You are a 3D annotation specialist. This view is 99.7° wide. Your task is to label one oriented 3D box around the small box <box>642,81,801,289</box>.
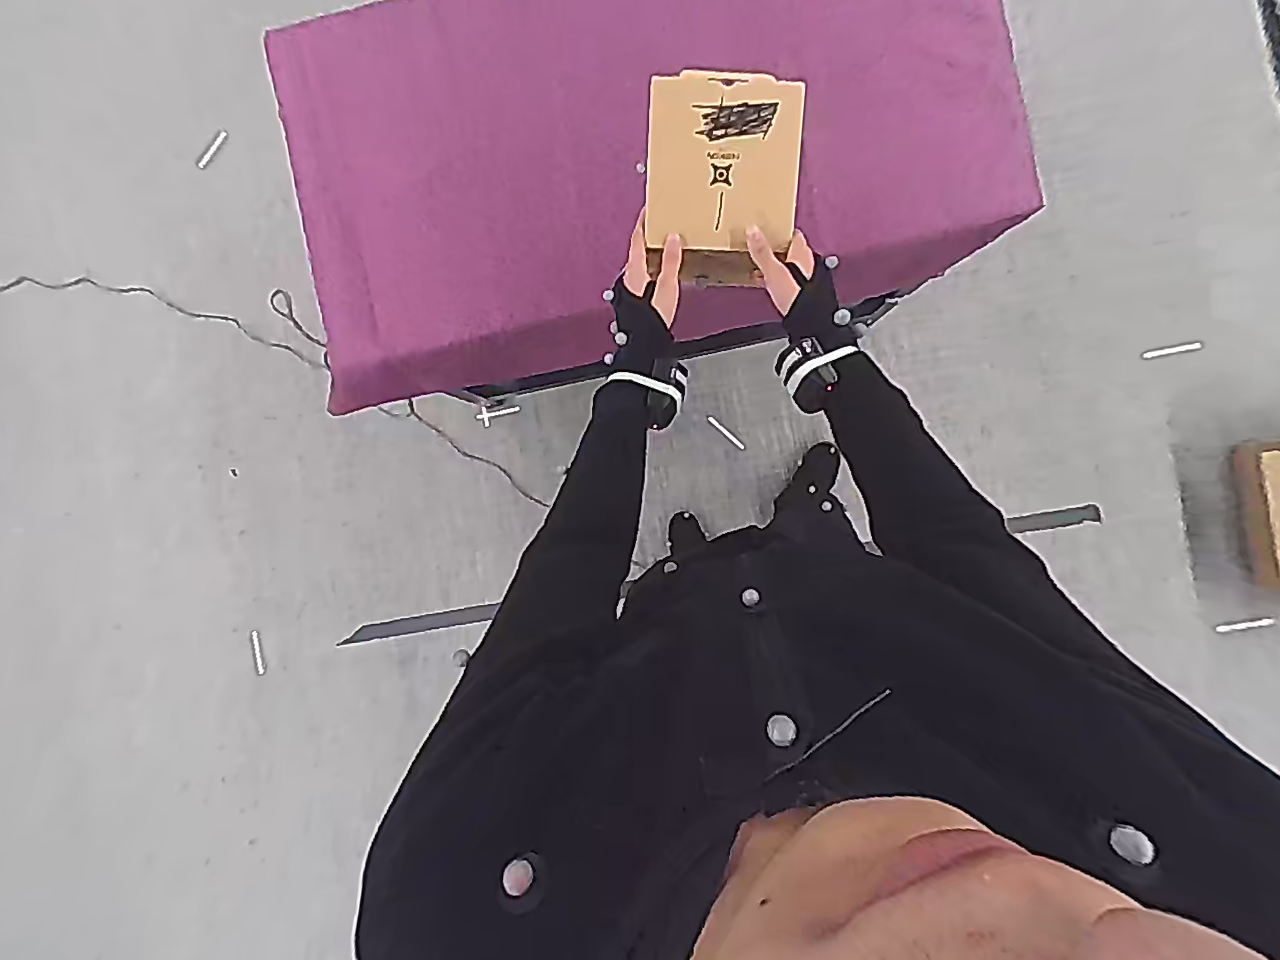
[{"bbox_3d":[0.089,-0.349,0.669,0.168,0.176,0.179,2,98,1],"label":"small box"}]
